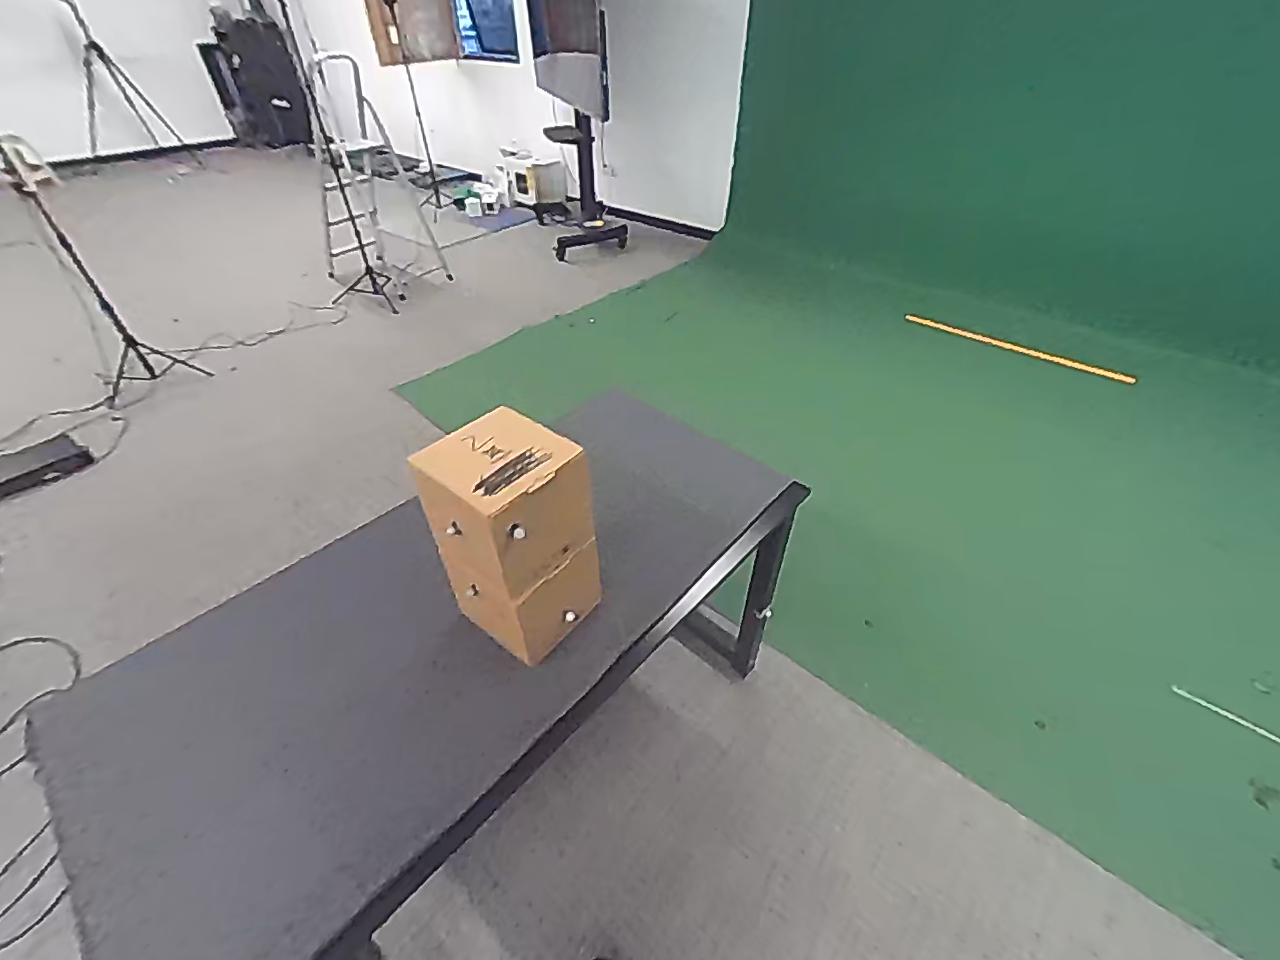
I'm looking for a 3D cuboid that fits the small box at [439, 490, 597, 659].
[{"bbox_3d":[-0.186,0.150,0.864,0.179,0.176,0.168,27,47,28],"label":"small box"}]
